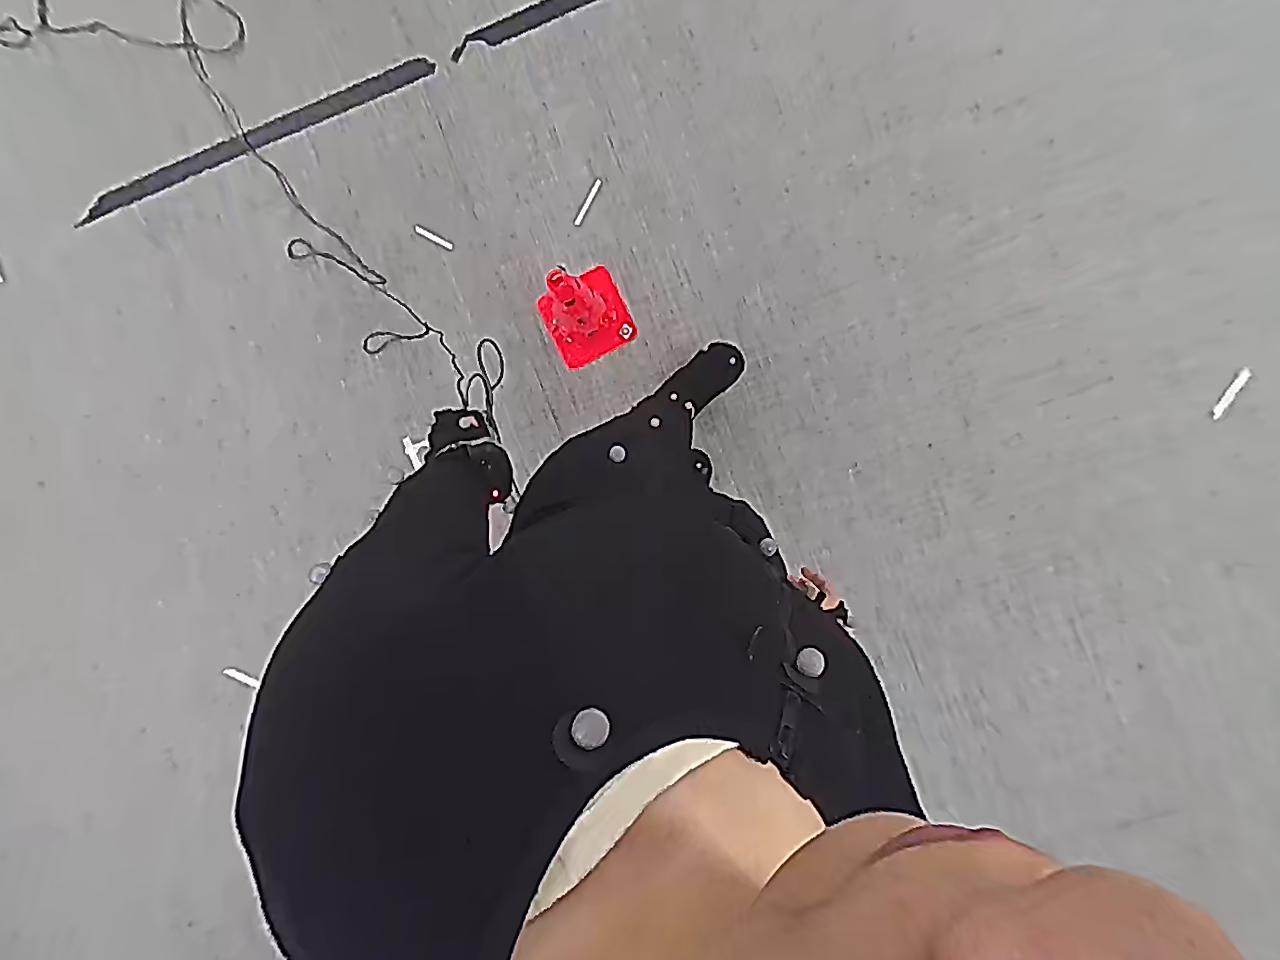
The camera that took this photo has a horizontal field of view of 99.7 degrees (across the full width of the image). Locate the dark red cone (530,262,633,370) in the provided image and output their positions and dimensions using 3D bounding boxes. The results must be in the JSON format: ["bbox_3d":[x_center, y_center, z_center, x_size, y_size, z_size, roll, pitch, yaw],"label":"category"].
[{"bbox_3d":[-0.151,-0.375,1.132,0.202,0.394,0.201,-27,92,6],"label":"dark red cone"}]
